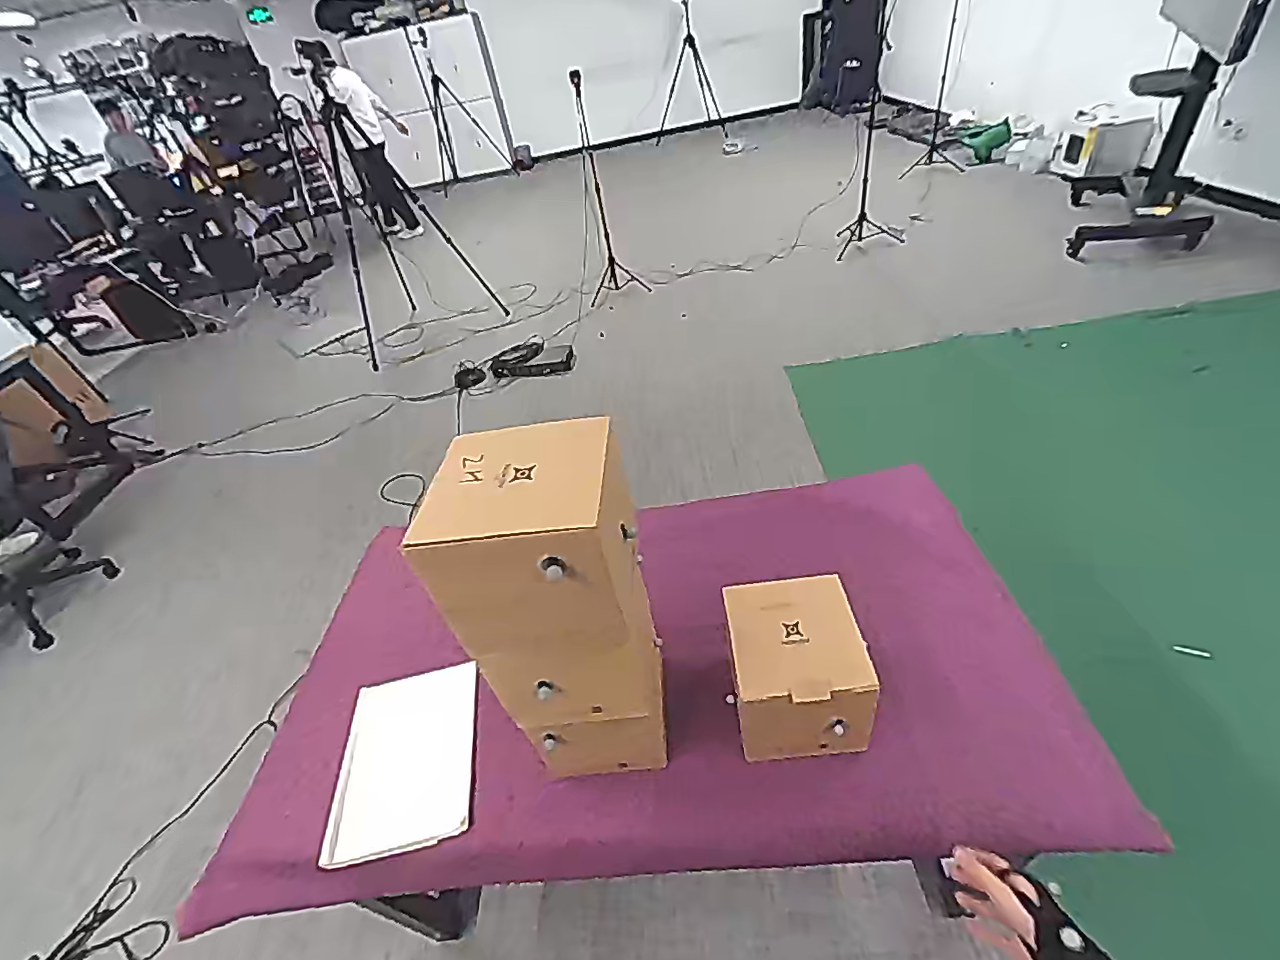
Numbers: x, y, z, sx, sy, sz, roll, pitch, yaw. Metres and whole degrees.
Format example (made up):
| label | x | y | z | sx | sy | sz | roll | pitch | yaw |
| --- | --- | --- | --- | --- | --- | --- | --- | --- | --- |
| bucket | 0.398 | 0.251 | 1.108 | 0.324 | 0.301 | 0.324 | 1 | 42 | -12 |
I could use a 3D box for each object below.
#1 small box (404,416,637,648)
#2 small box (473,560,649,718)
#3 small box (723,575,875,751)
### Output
| label | x | y | z | sx | sy | sz | roll | pitch | yaw |
| --- | --- | --- | --- | --- | --- | --- | --- | --- | --- |
| small box | -0.101 | 0.056 | 0.562 | 0.179 | 0.176 | 0.168 | -6 | 39 | 8 |
| small box | -0.082 | 0.178 | 0.672 | 0.168 | 0.176 | 0.179 | -8 | 39 | 6 |
| small box | 0.212 | 0.260 | 0.756 | 0.168 | 0.176 | 0.179 | -7 | 39 | 5 |
